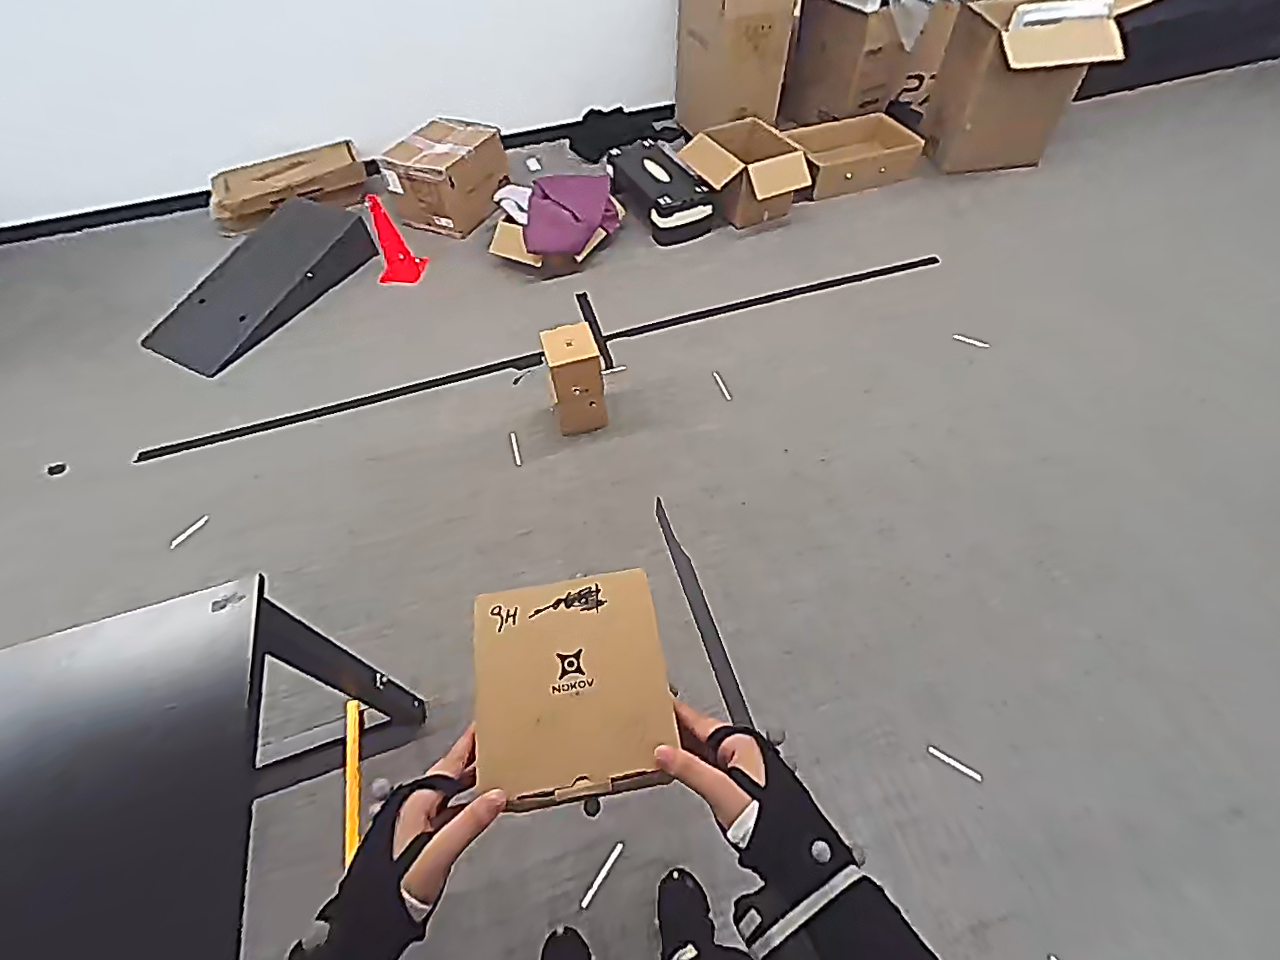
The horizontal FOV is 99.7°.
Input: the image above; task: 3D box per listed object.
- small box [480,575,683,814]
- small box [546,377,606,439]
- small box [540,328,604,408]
[{"bbox_3d":[-0.055,0.217,0.543,0.168,0.176,0.179,-9,59,-5],"label":"small box"},{"bbox_3d":[-0.225,-0.272,1.937,0.179,0.176,0.168,-15,54,-7],"label":"small box"},{"bbox_3d":[-0.226,-0.373,1.809,0.168,0.176,0.179,-16,56,-7],"label":"small box"}]
